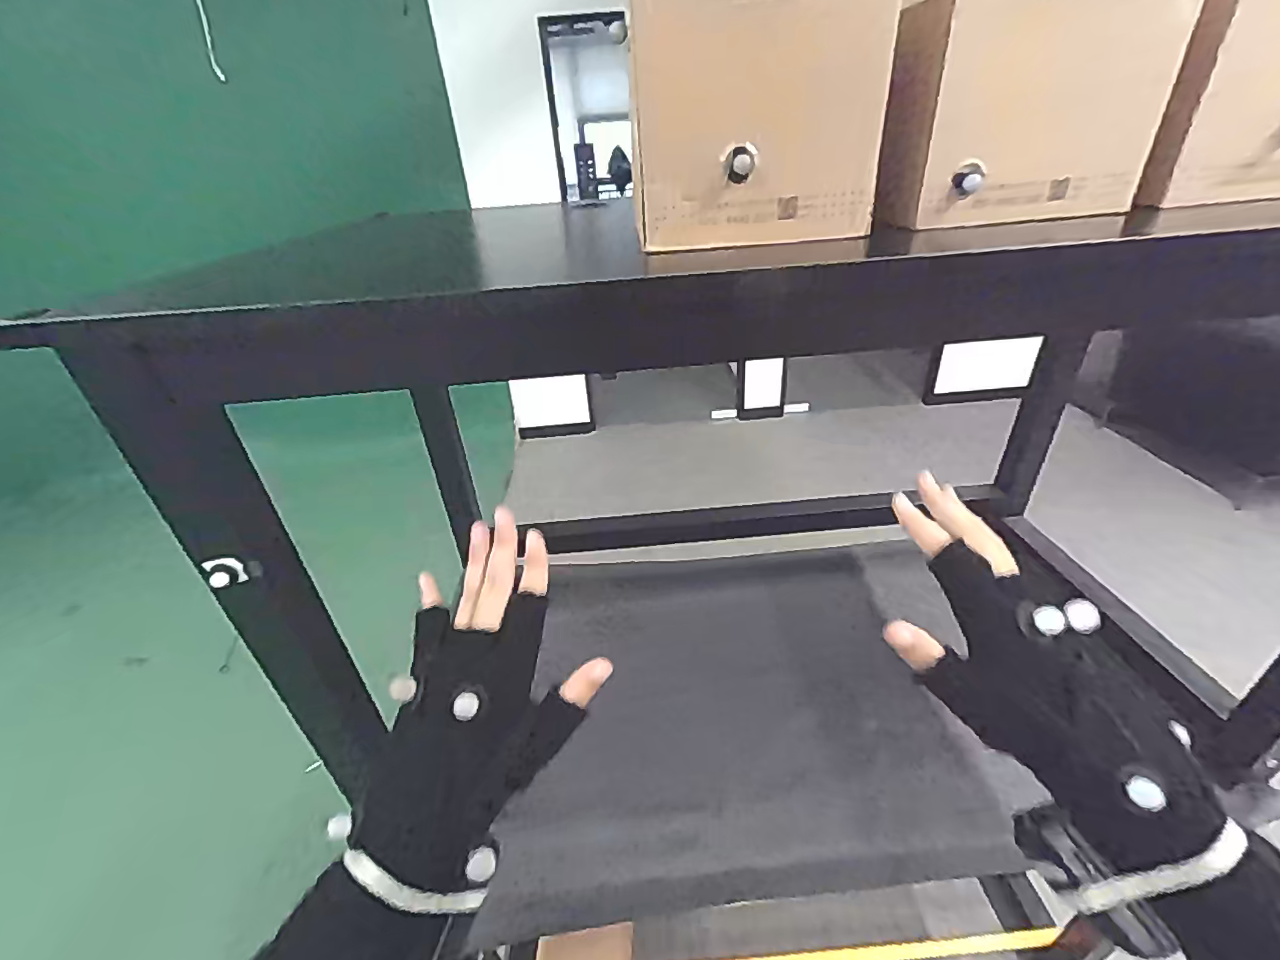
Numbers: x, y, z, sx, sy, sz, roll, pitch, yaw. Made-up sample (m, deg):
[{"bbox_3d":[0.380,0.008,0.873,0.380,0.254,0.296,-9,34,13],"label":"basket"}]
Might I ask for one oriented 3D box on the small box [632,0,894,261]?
[{"bbox_3d":[0.078,-0.281,0.442,0.168,0.176,0.179,-4,31,0],"label":"small box"}]
